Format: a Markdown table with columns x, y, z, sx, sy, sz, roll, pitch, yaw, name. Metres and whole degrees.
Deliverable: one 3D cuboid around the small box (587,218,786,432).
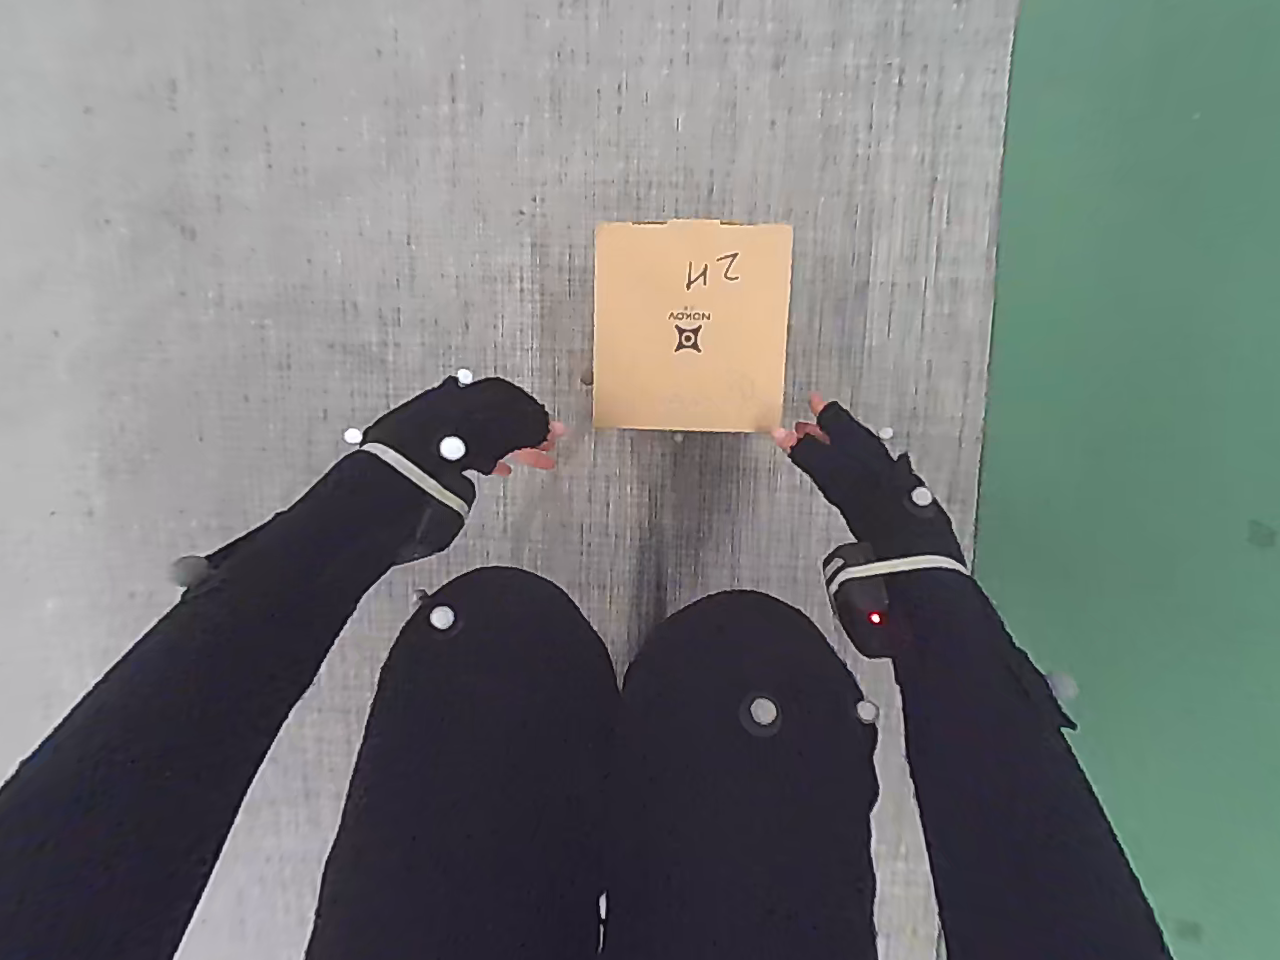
| x | y | z | sx | sy | sz | roll | pitch | yaw | name |
| --- | --- | --- | --- | --- | --- | --- | --- | --- | --- |
| 0.042 | -0.142 | 0.542 | 0.168 | 0.176 | 0.179 | 2 | 97 | 3 | small box |
